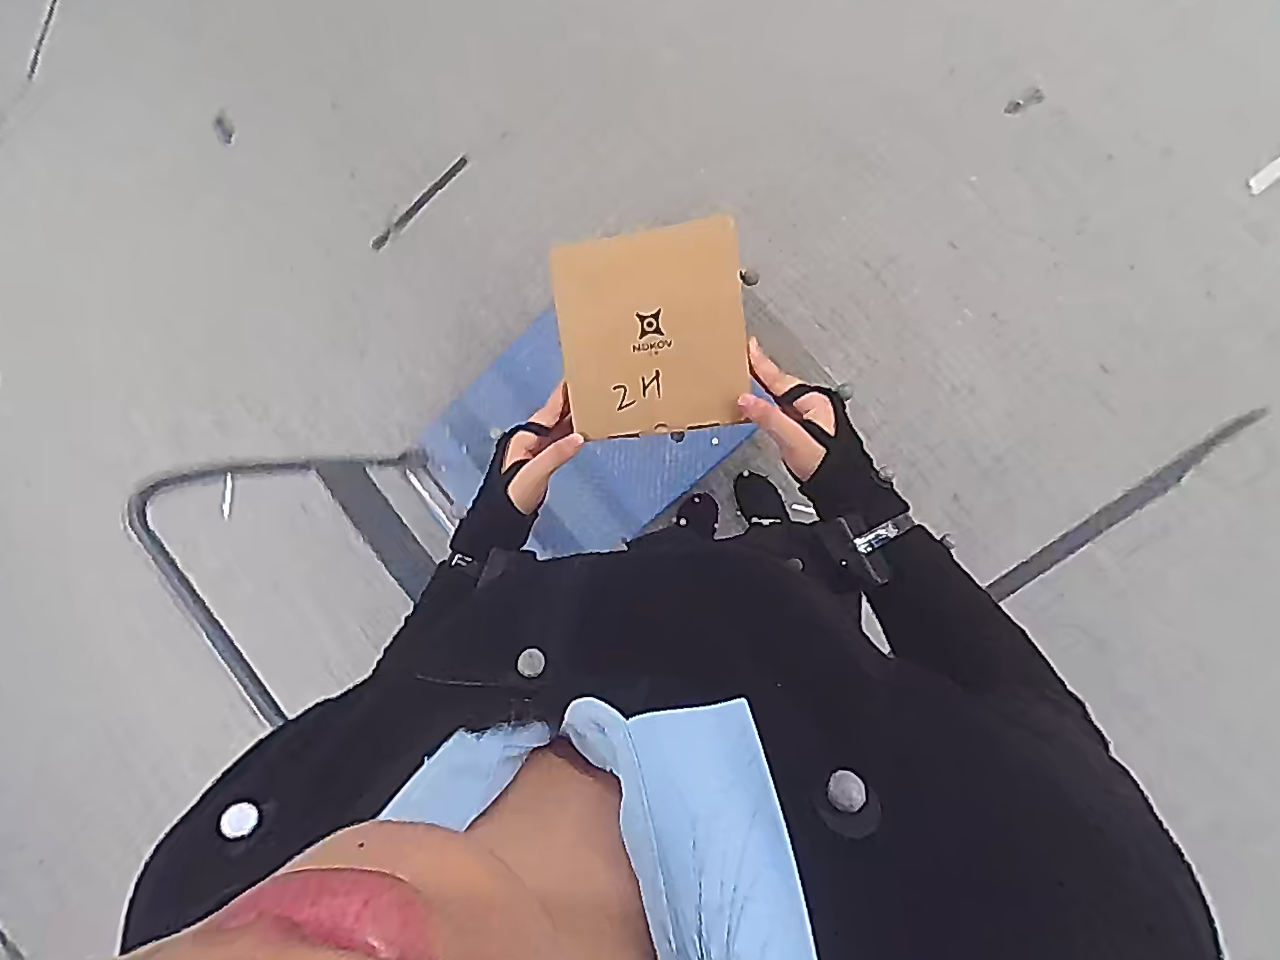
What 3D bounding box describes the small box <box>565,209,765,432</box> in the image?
[{"bbox_3d":[0.034,-0.143,0.545,0.168,0.176,0.179,-4,97,12],"label":"small box"}]
